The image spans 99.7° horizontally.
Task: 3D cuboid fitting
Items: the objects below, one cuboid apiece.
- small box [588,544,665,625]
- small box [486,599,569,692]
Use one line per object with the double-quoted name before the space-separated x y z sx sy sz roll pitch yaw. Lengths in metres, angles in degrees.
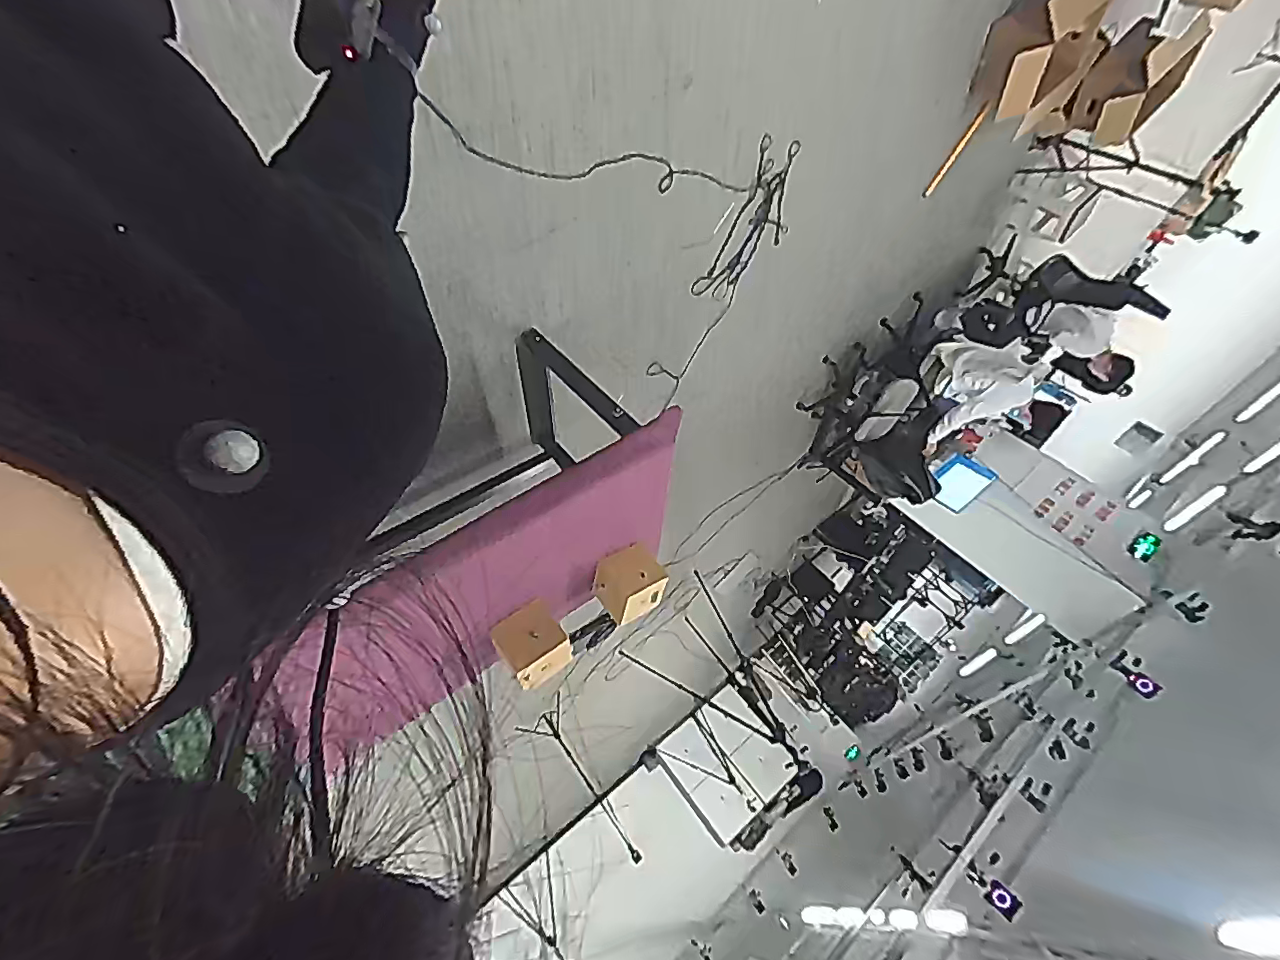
"small box" -0.049 0.341 1.802 0.179 0.176 0.168 -22 143 -35
"small box" -0.336 0.491 1.622 0.179 0.176 0.168 -32 147 -25
